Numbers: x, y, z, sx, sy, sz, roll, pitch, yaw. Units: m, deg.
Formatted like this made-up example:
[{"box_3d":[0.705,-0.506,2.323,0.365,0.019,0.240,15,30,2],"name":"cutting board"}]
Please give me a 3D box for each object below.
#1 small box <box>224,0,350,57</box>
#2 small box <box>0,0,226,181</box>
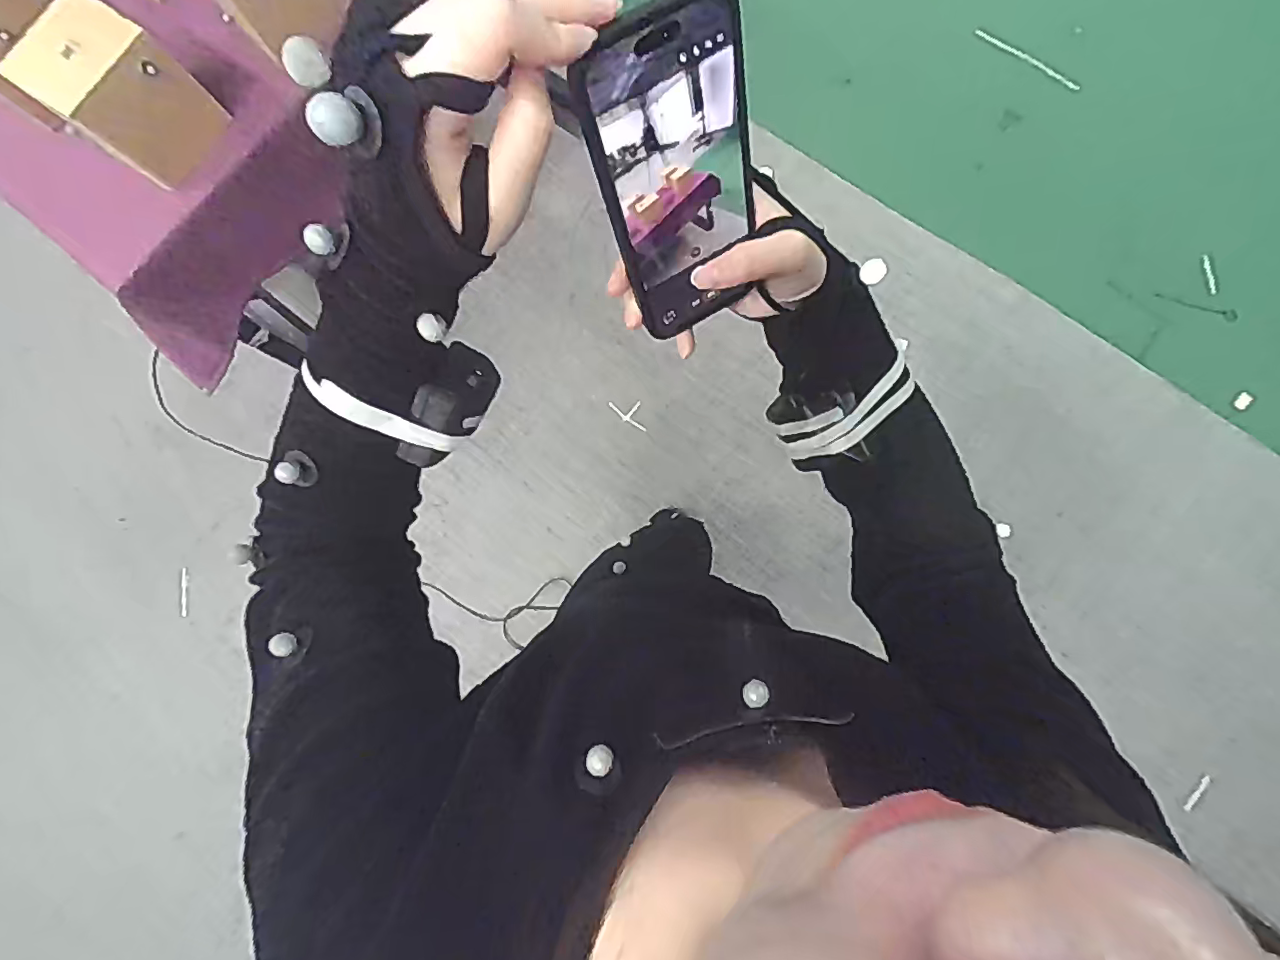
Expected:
[{"box_3d":[-0.631,-0.868,0.900,0.179,0.176,0.168,-45,82,-4],"name":"small box"},{"box_3d":[-0.840,-0.635,0.880,0.168,0.176,0.179,33,84,8],"name":"small box"}]
